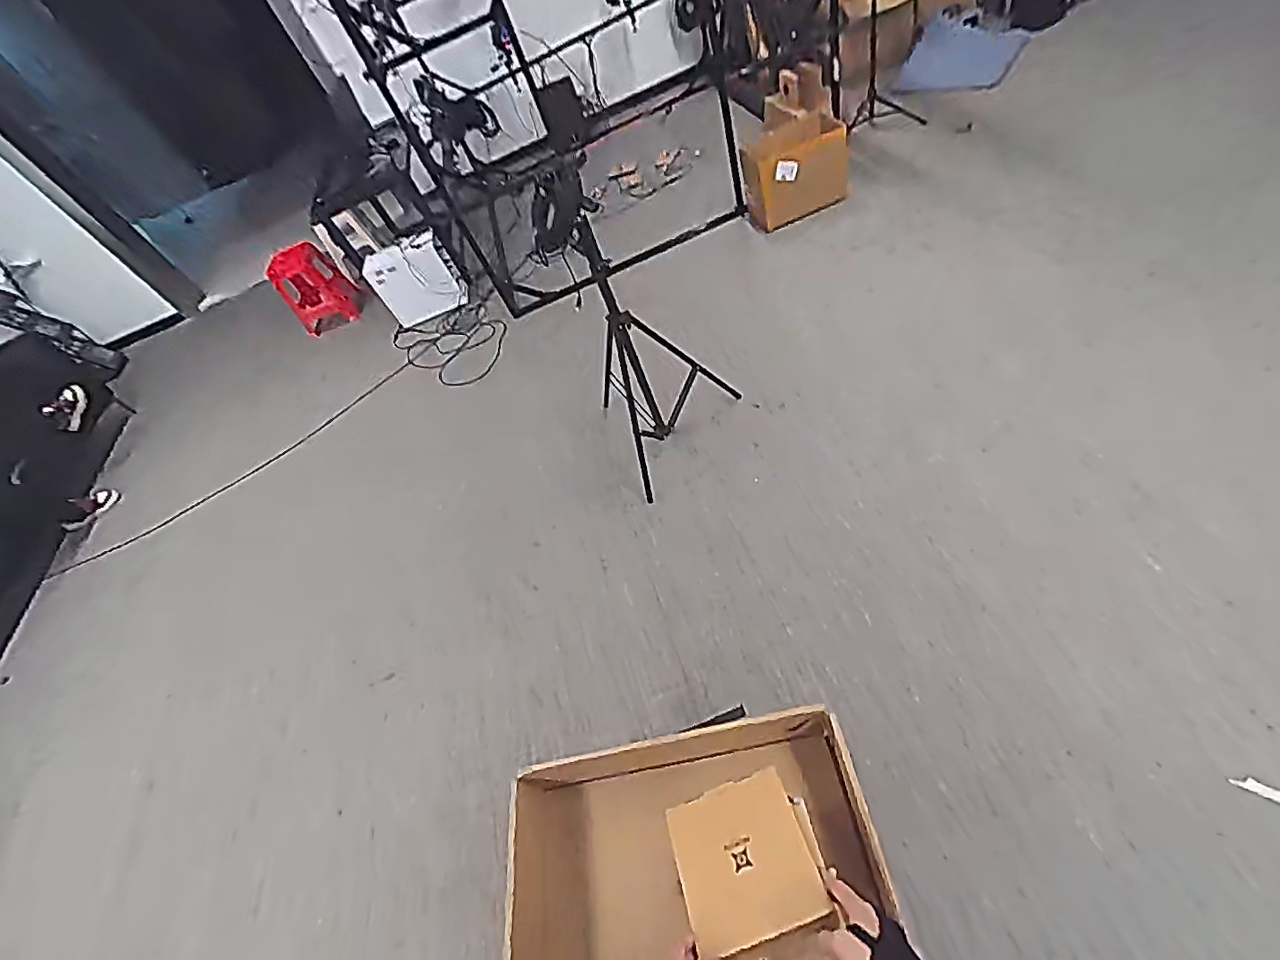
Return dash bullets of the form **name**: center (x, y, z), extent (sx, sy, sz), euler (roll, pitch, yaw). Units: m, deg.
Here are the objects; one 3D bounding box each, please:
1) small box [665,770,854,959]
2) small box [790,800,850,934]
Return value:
- **small box**: center (0.152, 0.525, 0.698), extent (0.168, 0.176, 0.179), euler (-24, 30, 1)
- **small box**: center (0.219, 0.631, 0.850), extent (0.168, 0.176, 0.179), euler (-19, 47, 7)
